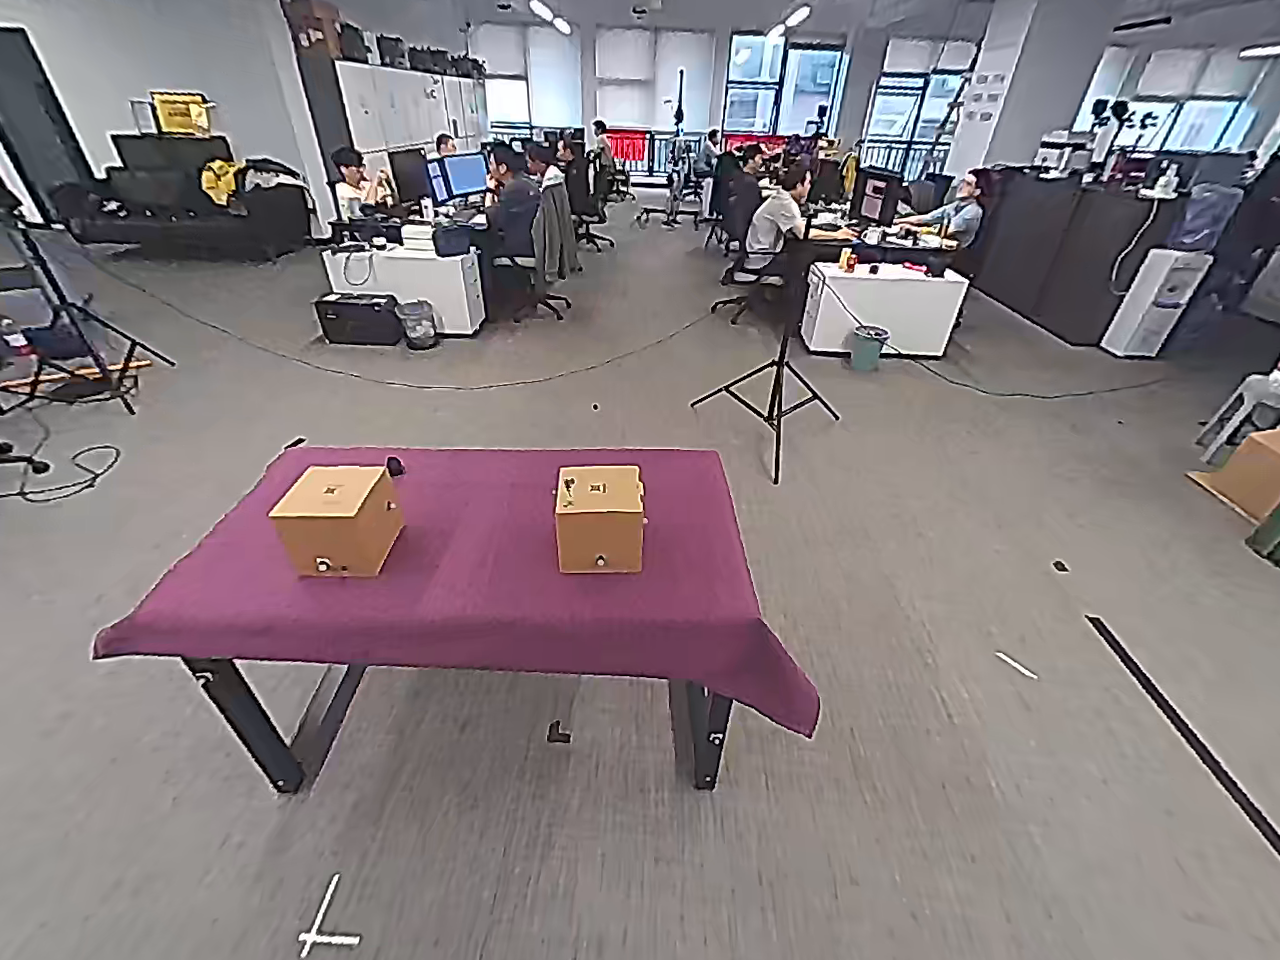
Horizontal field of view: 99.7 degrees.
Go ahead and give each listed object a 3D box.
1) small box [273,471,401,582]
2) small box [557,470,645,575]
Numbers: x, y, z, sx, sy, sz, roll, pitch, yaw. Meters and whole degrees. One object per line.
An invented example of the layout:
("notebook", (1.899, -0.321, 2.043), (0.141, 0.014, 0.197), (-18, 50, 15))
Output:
("small box", (-0.627, 0.096, 1.148), (0.168, 0.176, 0.179), (-1, 35, -2))
("small box", (-0.085, 0.093, 1.178), (0.179, 0.176, 0.168), (-1, 34, -4))
